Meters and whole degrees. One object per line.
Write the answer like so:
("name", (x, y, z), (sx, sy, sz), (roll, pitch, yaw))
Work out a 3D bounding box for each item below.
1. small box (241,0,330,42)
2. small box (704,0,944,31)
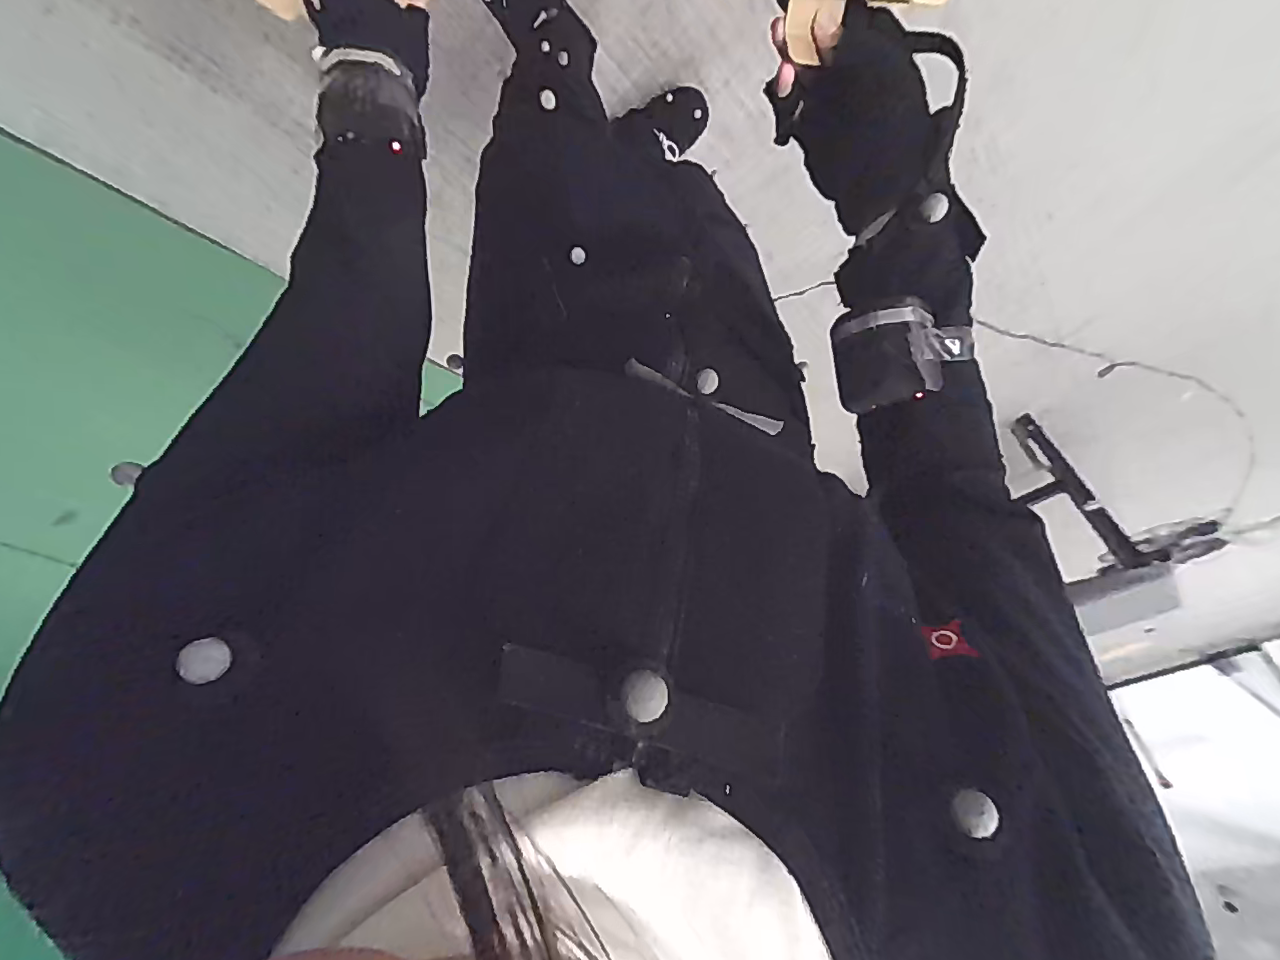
("small box", (-0.295, -0.490, 0.393), (0.179, 0.176, 0.168), (22, 134, -39))
("small box", (0.091, -0.373, 0.273), (0.168, 0.176, 0.179), (-15, 150, -22))
